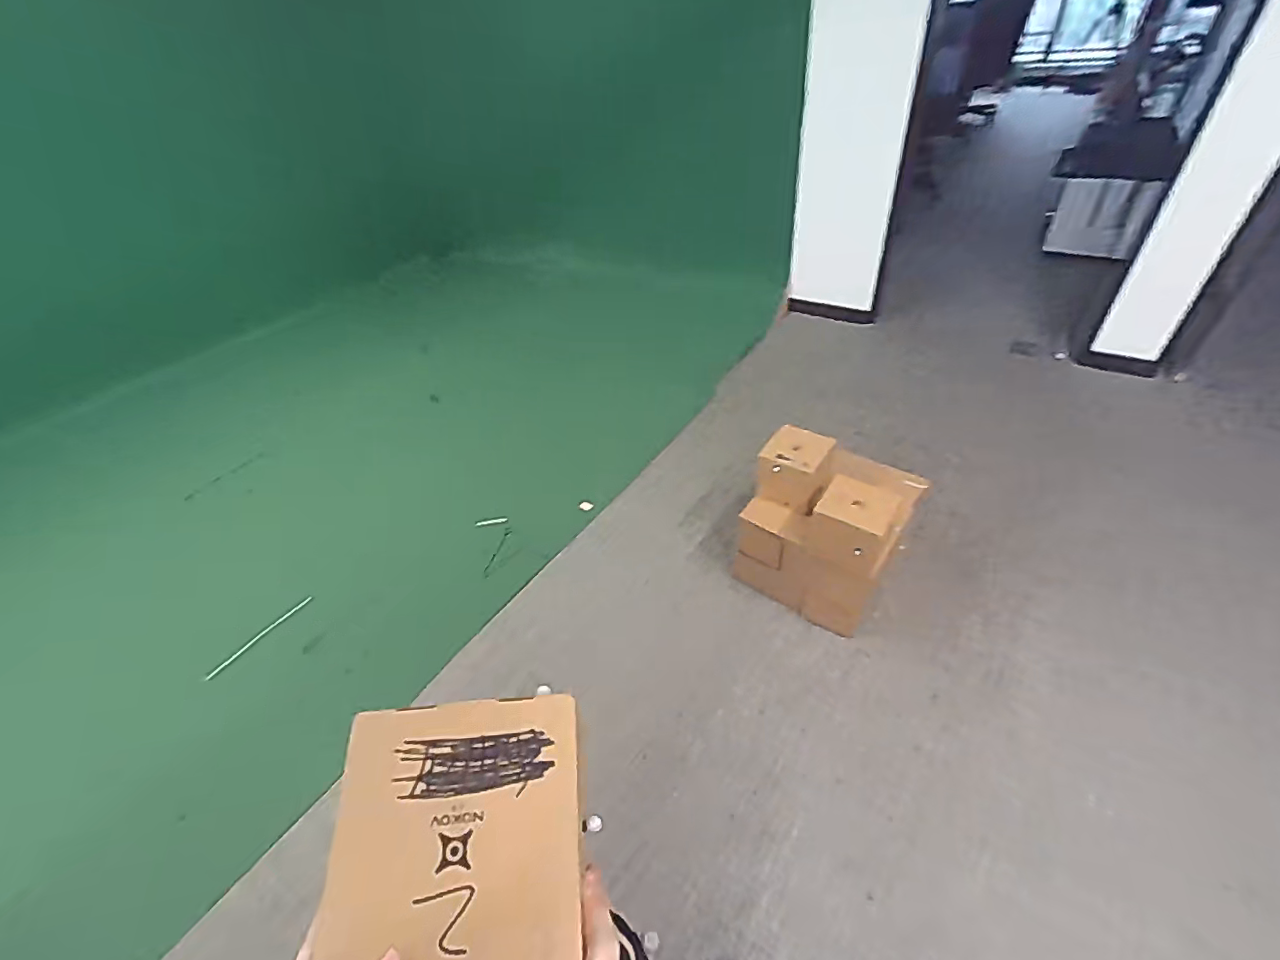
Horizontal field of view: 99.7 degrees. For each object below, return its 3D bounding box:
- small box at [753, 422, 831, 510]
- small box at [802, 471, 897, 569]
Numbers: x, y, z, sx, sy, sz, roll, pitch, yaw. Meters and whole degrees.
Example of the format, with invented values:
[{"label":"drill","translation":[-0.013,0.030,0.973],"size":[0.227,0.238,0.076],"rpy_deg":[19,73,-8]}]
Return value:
[{"label":"small box","translation":[0.446,-0.042,1.612],"size":[0.168,0.176,0.179],"rpy_deg":[23,49,30]},{"label":"small box","translation":[0.550,0.110,1.431],"size":[0.179,0.176,0.168],"rpy_deg":[23,49,29]}]
